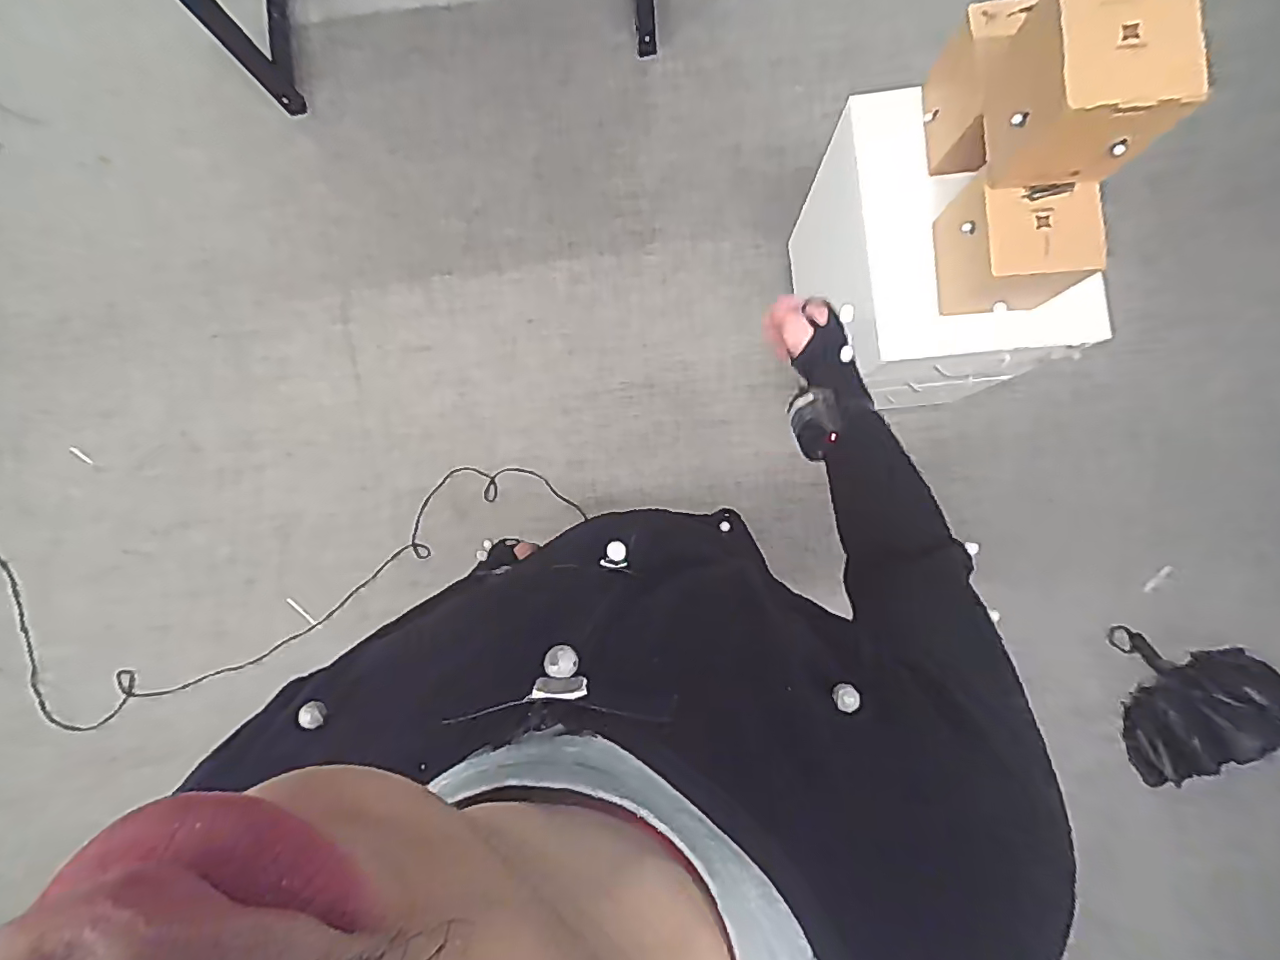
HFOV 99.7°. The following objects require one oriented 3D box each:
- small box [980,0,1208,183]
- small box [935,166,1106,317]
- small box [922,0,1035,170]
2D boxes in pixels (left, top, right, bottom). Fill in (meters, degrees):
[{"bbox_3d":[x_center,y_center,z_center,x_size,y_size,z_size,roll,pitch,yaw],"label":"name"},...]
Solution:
[{"bbox_3d":[0.592,-0.527,0.729,0.168,0.176,0.179,-3,86,3],"label":"small box"},{"bbox_3d":[0.604,-0.384,0.882,0.168,0.176,0.179,-3,87,4],"label":"small box"},{"bbox_3d":[0.593,-0.644,0.898,0.168,0.176,0.179,-5,88,3],"label":"small box"}]
